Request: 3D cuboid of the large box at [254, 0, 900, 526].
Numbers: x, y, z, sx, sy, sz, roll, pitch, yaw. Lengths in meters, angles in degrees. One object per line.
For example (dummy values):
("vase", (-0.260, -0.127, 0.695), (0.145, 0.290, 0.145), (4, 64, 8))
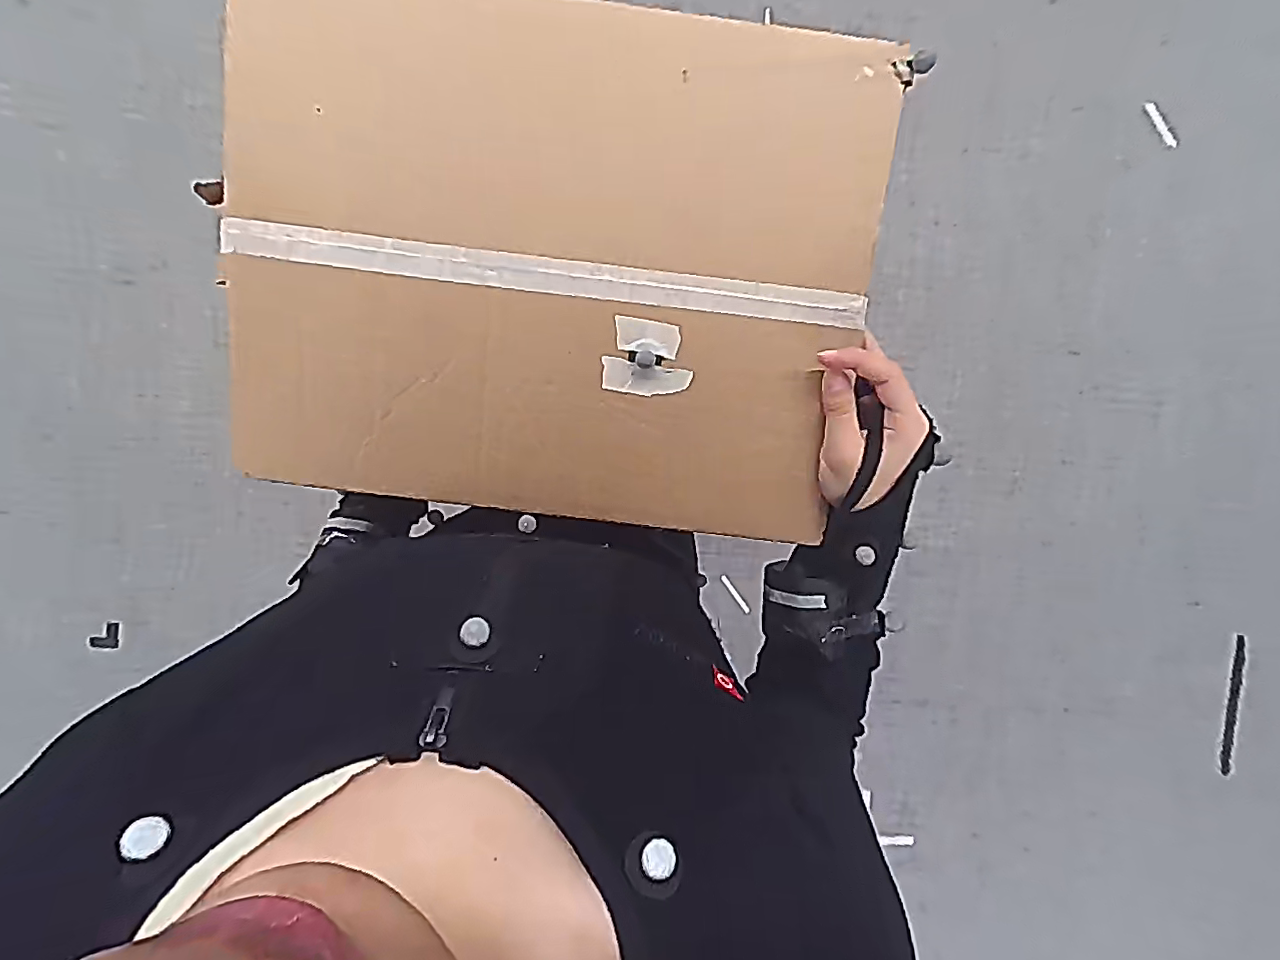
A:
("large box", (-0.053, -0.159, 0.501), (0.408, 0.320, 0.320), (6, 101, -2))
